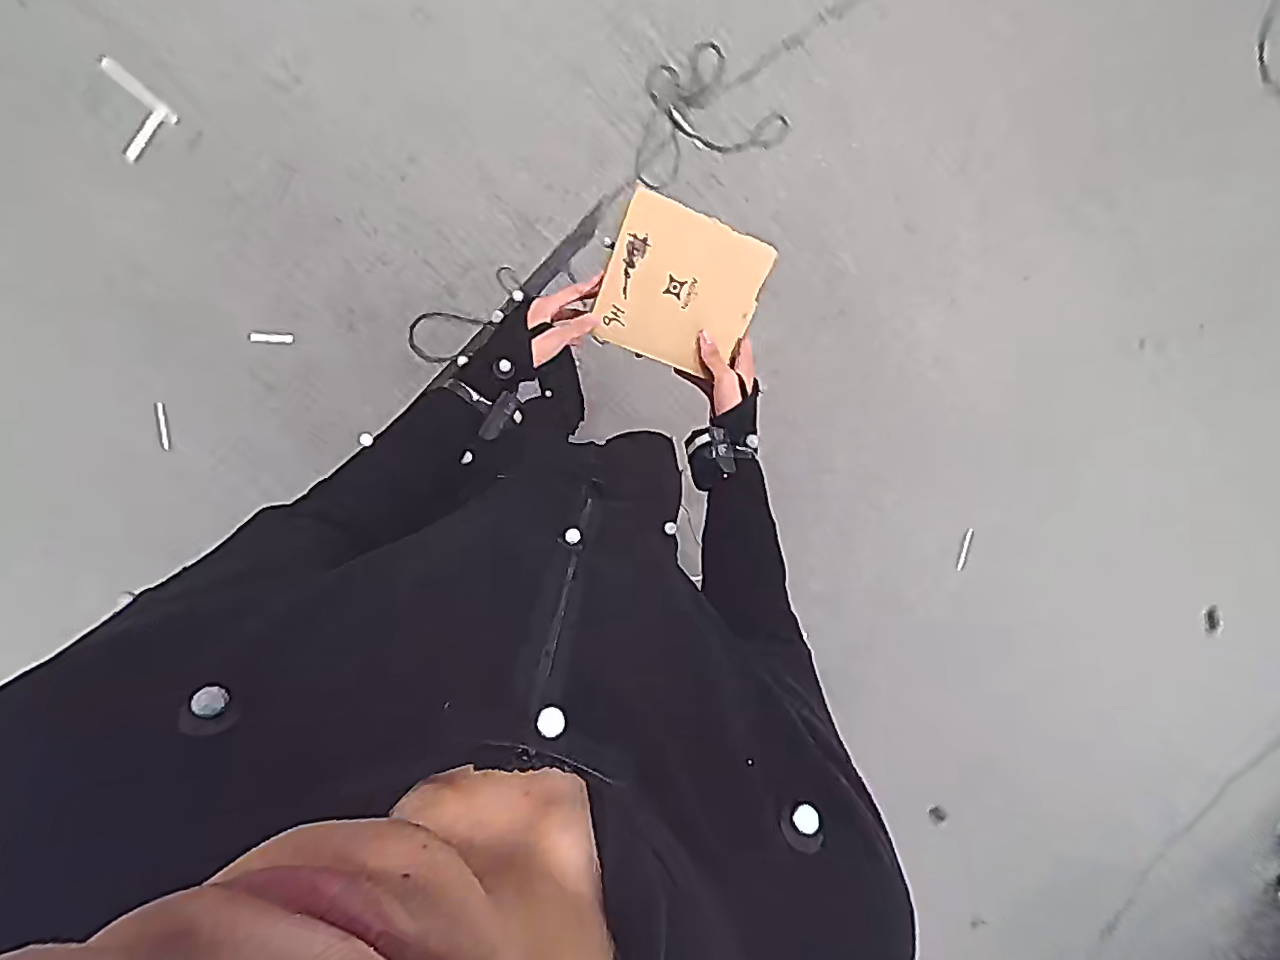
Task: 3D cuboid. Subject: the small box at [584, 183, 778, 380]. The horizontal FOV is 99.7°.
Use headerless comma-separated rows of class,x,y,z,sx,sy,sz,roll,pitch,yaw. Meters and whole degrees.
small box,0.038,-0.247,0.682,0.179,0.176,0.168,18,109,-14
